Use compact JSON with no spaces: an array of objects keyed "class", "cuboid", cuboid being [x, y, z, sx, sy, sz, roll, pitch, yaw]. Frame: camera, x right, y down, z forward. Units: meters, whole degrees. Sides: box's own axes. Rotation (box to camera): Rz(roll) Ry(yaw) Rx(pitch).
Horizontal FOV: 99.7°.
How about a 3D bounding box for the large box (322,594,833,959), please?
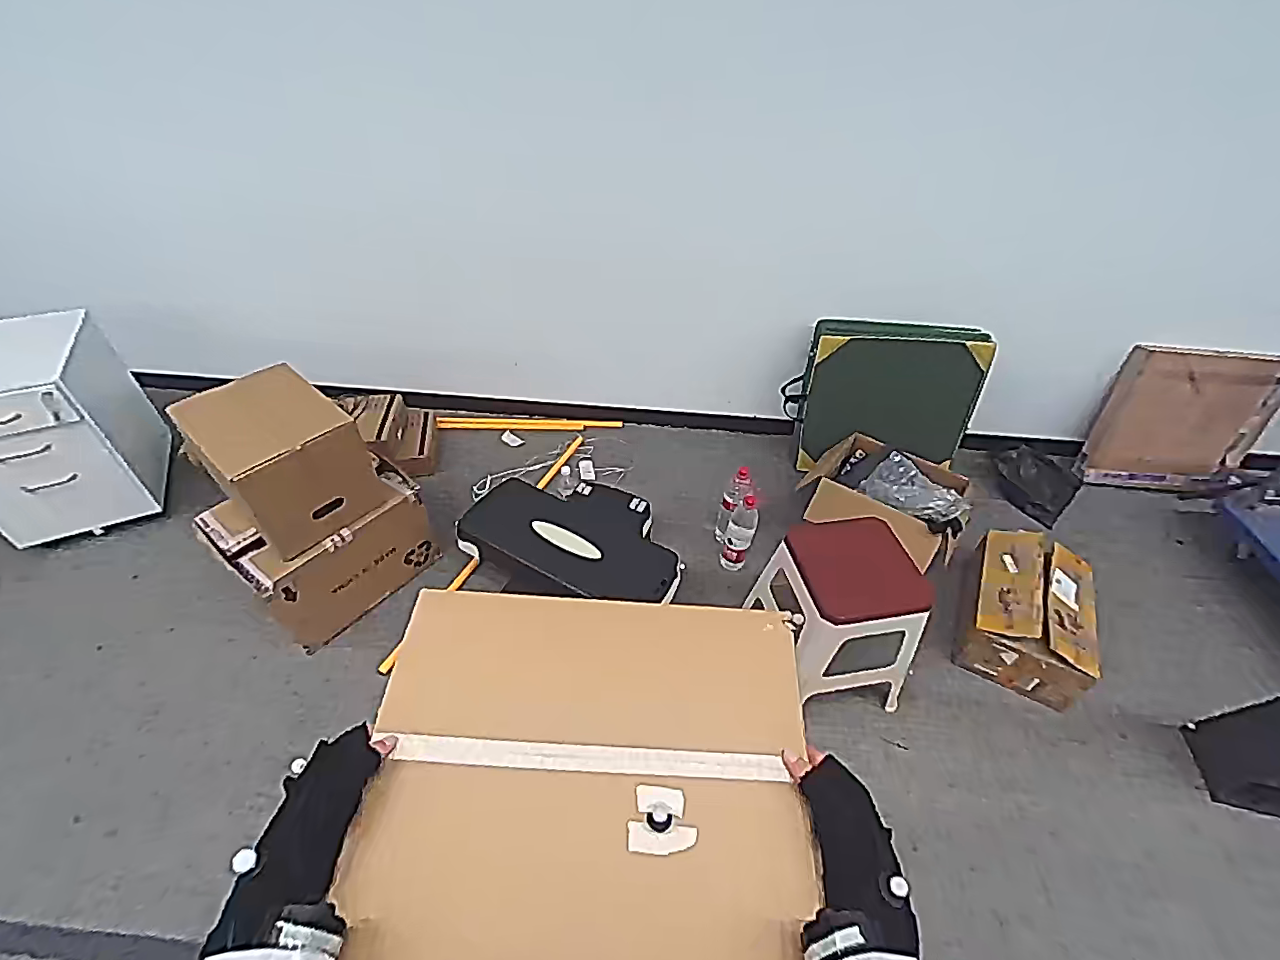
[{"class":"large box","cuboid":[-0.048,0.349,0.620,0.408,0.320,0.320,4,52,0]}]
